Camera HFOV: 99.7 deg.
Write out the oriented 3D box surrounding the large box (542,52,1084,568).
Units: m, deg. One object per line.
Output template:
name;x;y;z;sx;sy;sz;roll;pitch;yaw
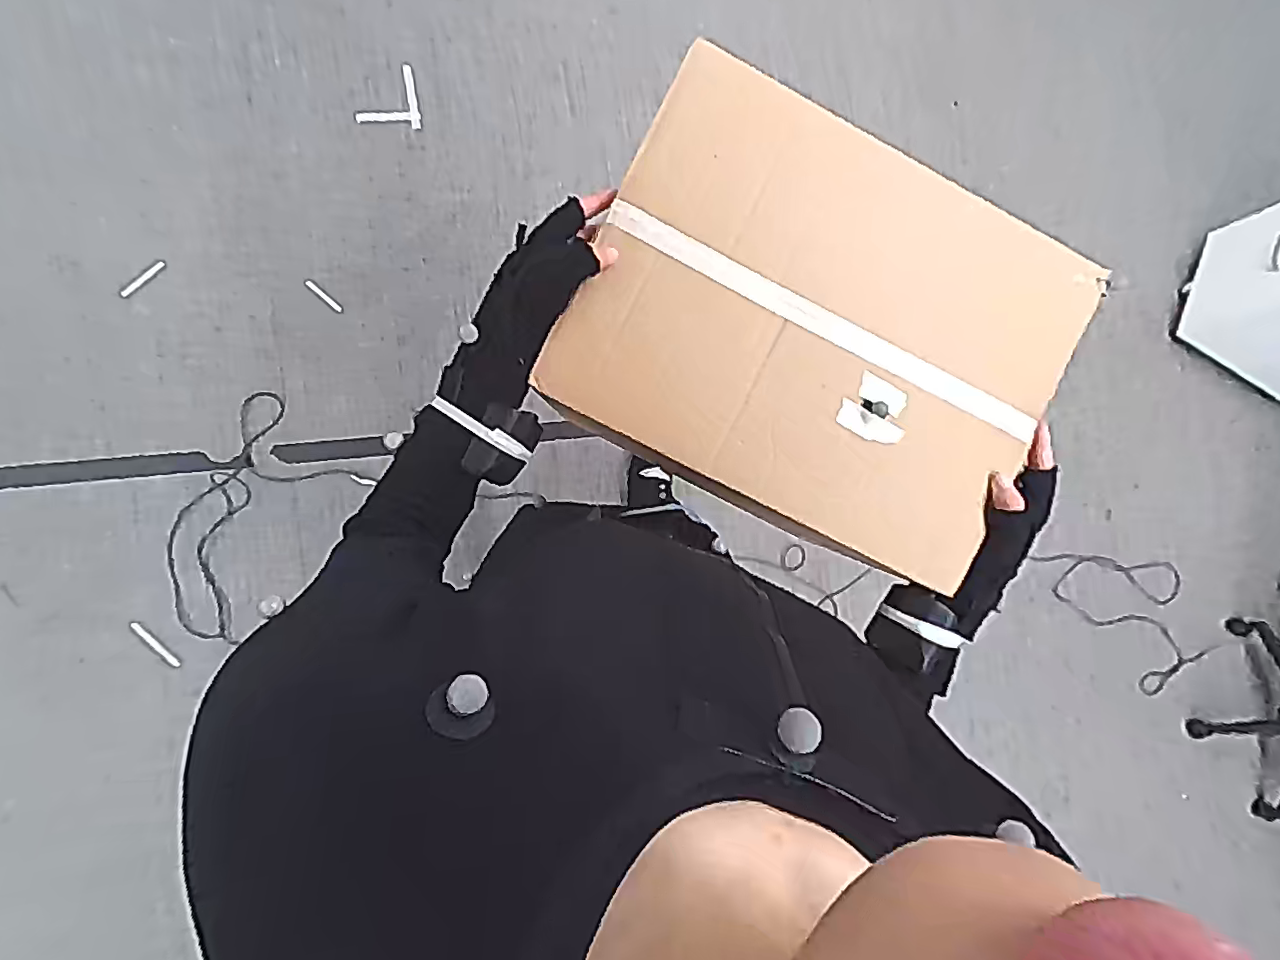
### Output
large box;0.144;-0.146;0.615;0.408;0.320;0.320;27;91;-5
